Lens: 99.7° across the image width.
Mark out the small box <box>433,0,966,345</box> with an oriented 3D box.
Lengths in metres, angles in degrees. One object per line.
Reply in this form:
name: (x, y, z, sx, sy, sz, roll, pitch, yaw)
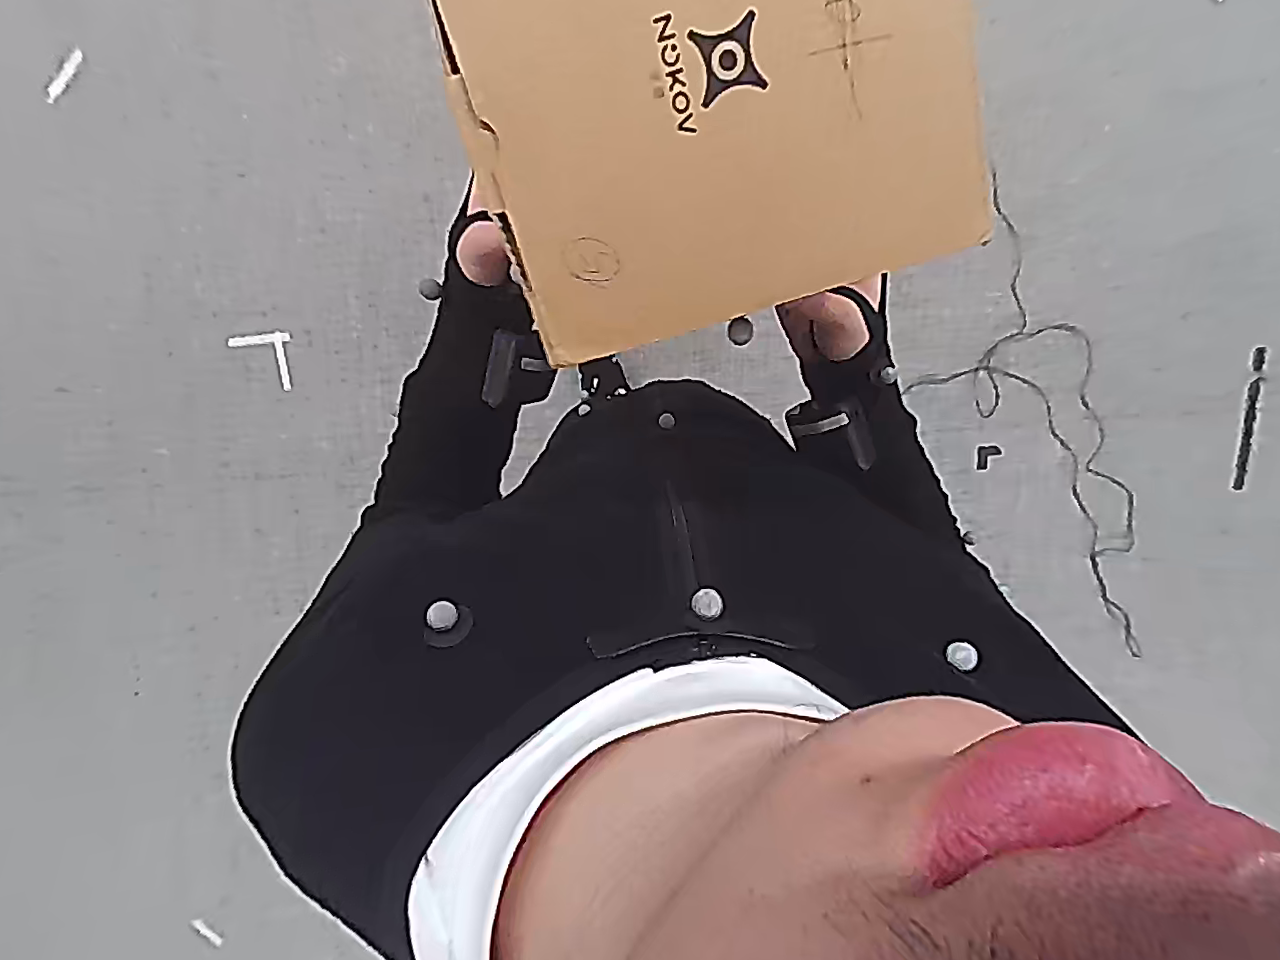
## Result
small box: (0.021, -0.174, 0.272, 0.179, 0.176, 0.168, -17, 107, 2)
